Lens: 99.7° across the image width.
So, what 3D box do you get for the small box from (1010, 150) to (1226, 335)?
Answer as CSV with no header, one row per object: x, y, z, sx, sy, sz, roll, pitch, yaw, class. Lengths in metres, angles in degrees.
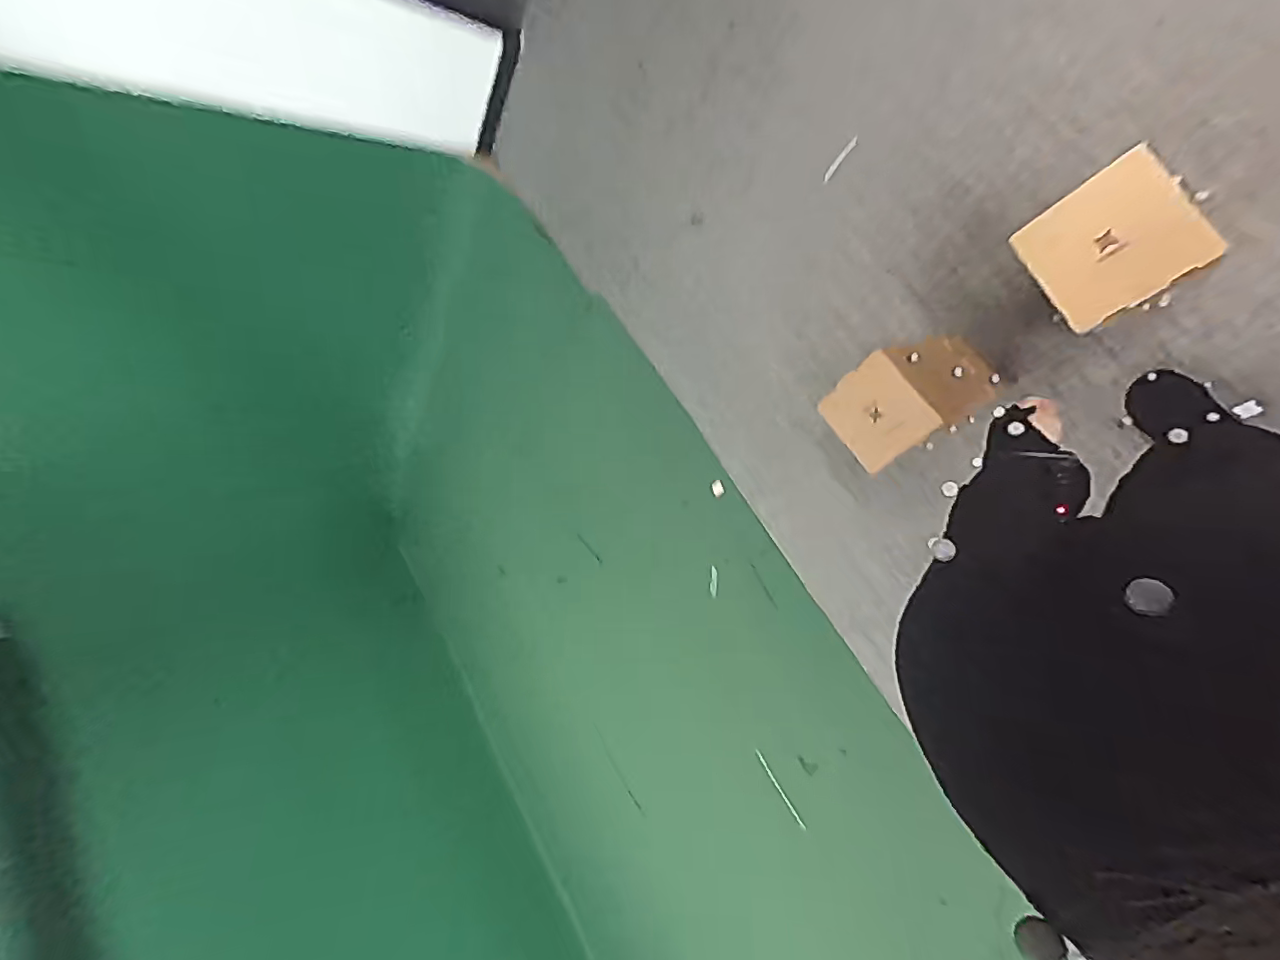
0.687,-0.332,0.787,0.168,0.176,0.179,-40,74,45,small box

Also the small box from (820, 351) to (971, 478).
0.495,-0.134,1.049,0.179,0.176,0.168,55,136,17,small box

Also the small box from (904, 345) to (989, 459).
0.605,-0.173,1.162,0.179,0.176,0.168,54,135,18,small box
